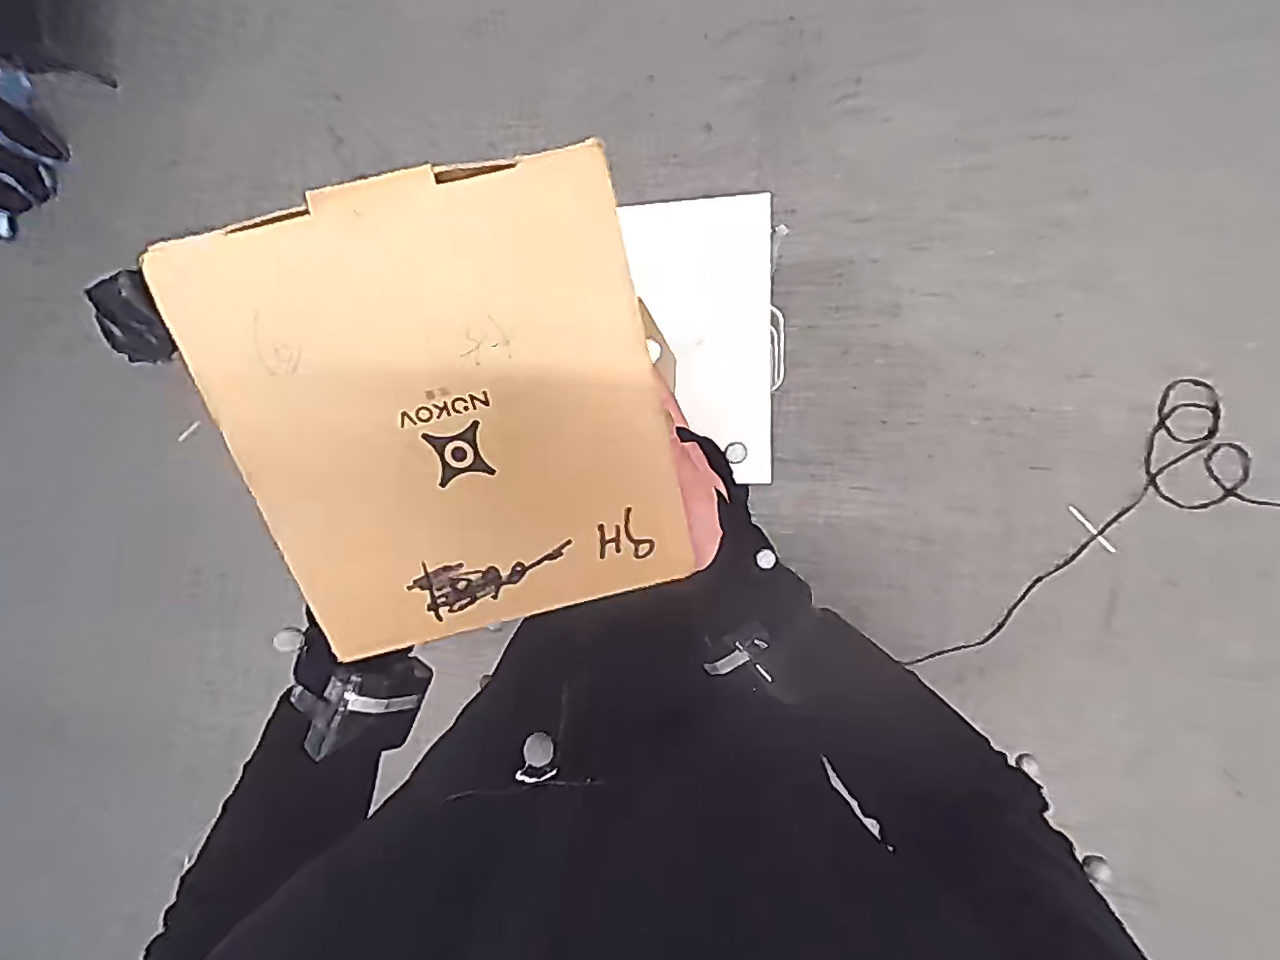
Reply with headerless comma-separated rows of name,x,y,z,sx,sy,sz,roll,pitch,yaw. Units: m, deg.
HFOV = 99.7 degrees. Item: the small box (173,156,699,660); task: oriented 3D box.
small box,-0.078,-0.040,0.294,0.168,0.176,0.179,-14,107,-1
